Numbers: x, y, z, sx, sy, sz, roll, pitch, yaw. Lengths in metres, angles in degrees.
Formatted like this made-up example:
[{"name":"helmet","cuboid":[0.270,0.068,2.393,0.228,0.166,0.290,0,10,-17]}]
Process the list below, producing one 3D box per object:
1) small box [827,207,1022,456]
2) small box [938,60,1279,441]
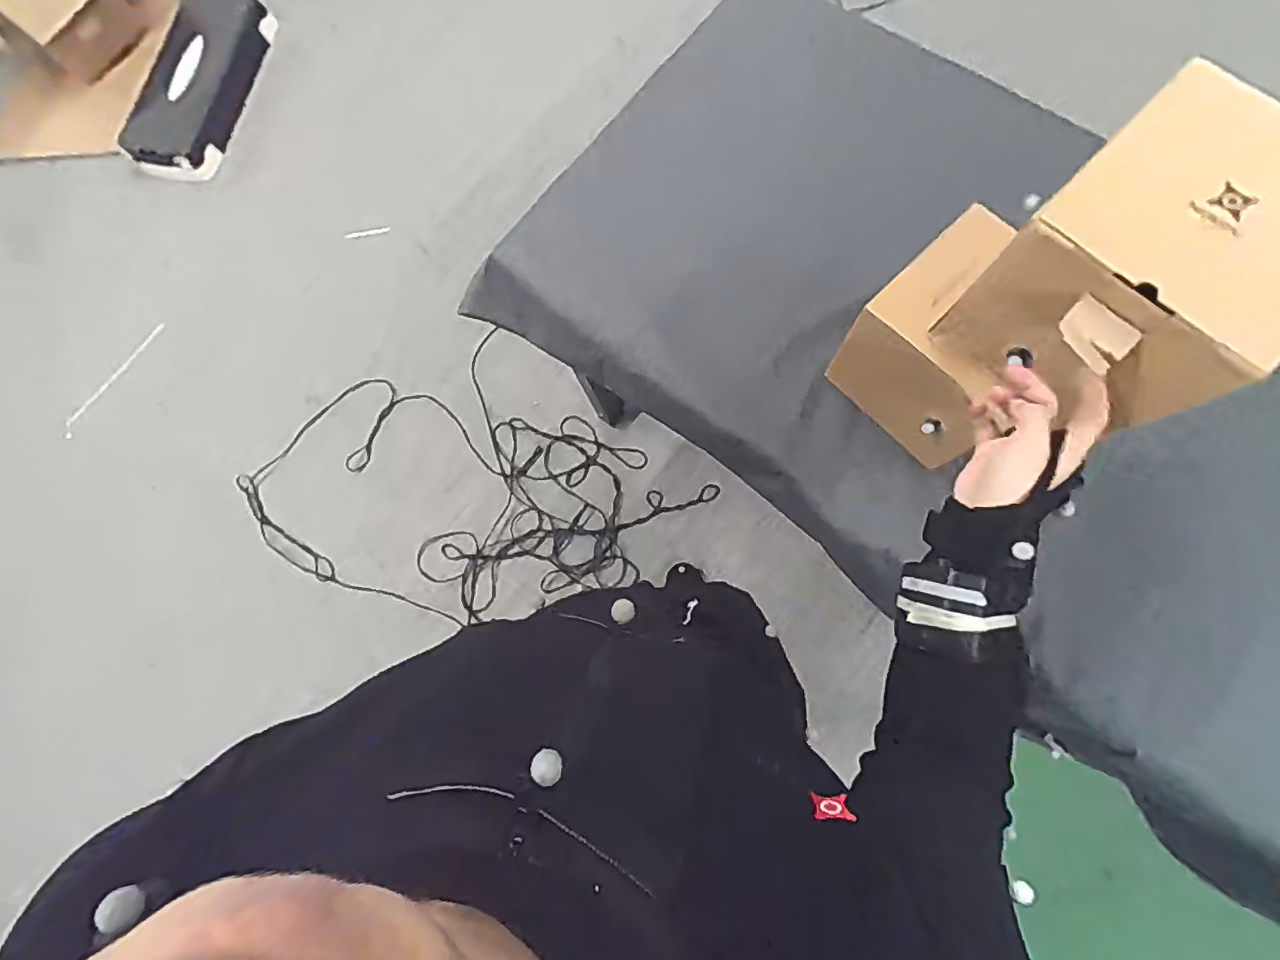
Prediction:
[{"name":"small box","cuboid":[0.339,-0.144,0.594,0.168,0.176,0.179,-43,77,-5]},{"name":"small box","cuboid":[0.382,-0.159,0.427,0.179,0.176,0.168,-45,78,-5]}]
